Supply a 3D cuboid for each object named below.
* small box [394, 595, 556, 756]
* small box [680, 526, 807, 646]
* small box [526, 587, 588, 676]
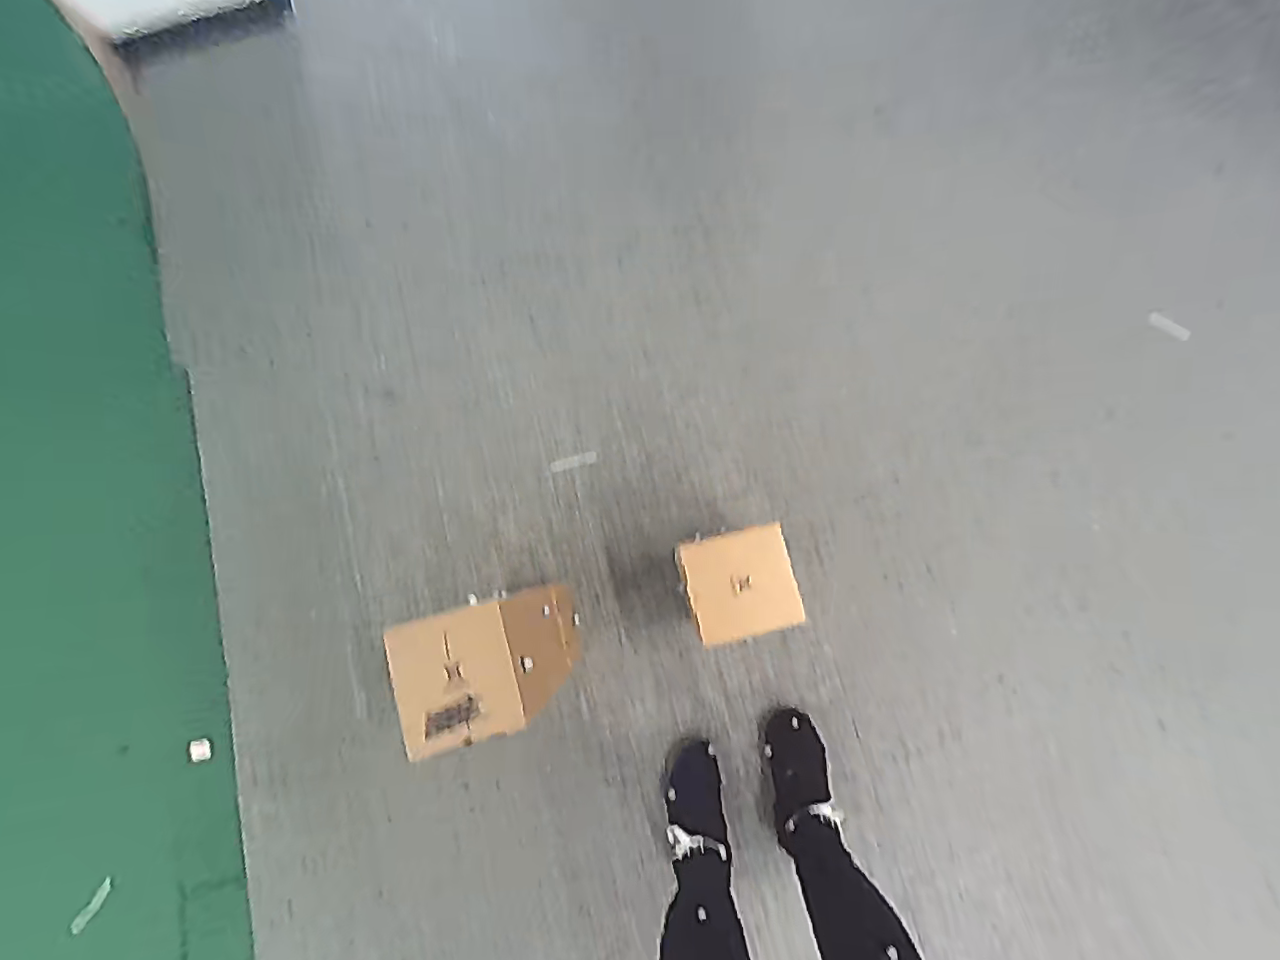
[{"bbox_3d":[-0.237,0.281,0.815,0.168,0.176,0.179,-17,78,0],"label":"small box"},{"bbox_3d":[0.175,0.187,0.977,0.179,0.176,0.168,-15,79,1],"label":"small box"},{"bbox_3d":[-0.221,0.328,1.139,0.179,0.176,0.168,-15,79,0],"label":"small box"}]
